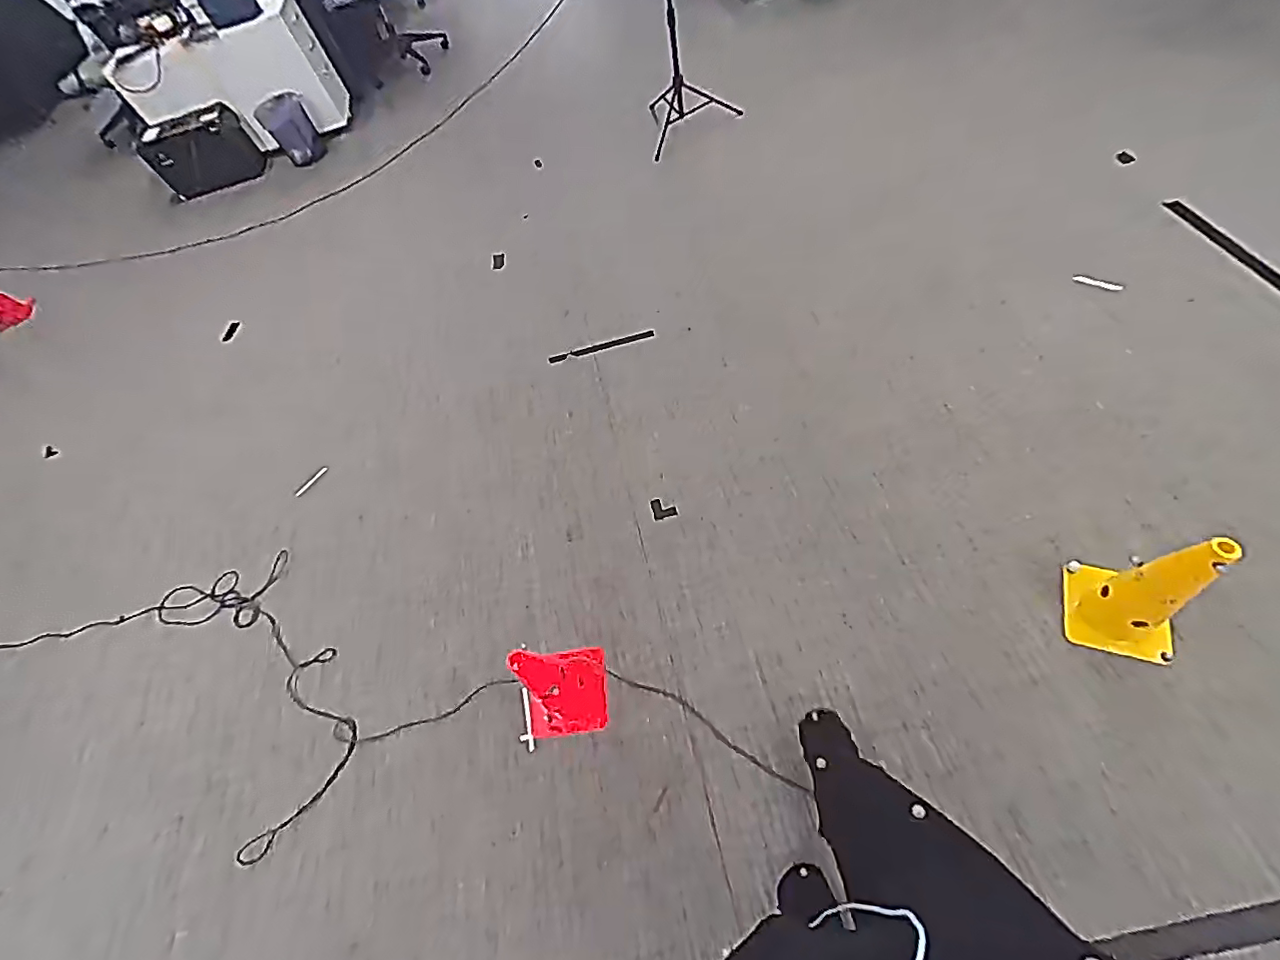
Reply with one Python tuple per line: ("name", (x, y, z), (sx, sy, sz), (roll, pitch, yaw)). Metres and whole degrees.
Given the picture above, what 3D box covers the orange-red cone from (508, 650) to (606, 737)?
("orange-red cone", (-0.214, 0.453, 1.227), (0.199, 0.360, 0.198), (-9, 58, 6))
